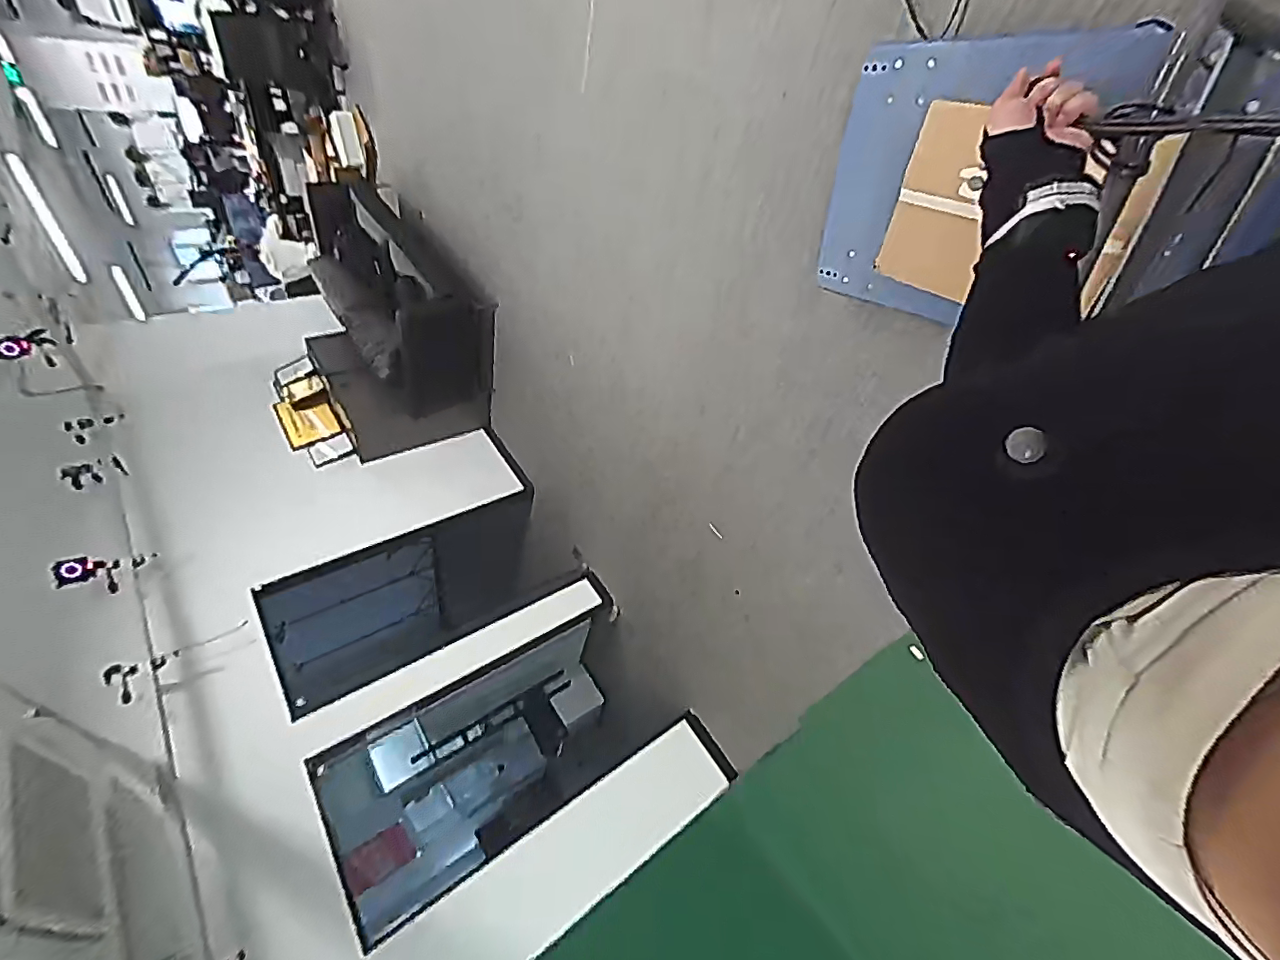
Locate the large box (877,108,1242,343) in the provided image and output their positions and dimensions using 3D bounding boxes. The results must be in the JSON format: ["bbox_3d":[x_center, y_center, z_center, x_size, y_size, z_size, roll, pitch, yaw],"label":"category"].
[{"bbox_3d":[0.760,-0.503,1.032,0.408,0.320,0.320,42,140,37],"label":"large box"}]
